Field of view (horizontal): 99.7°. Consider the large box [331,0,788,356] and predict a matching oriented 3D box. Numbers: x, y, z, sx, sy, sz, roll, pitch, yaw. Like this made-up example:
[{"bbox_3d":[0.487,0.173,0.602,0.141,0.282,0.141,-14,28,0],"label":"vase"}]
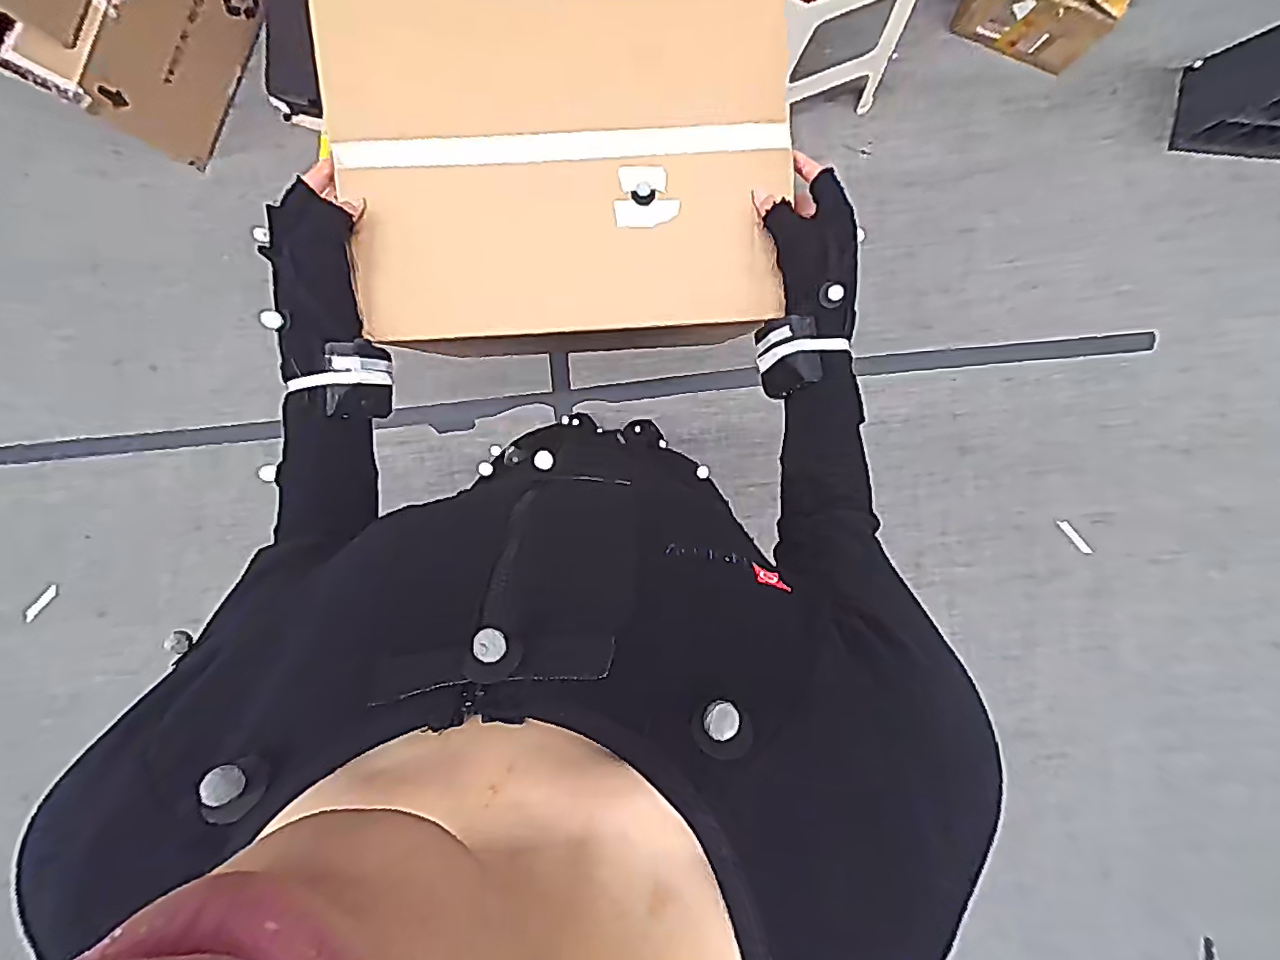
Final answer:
[{"bbox_3d":[-0.072,-0.326,0.641,0.408,0.320,0.320,-3,100,-3],"label":"large box"}]
